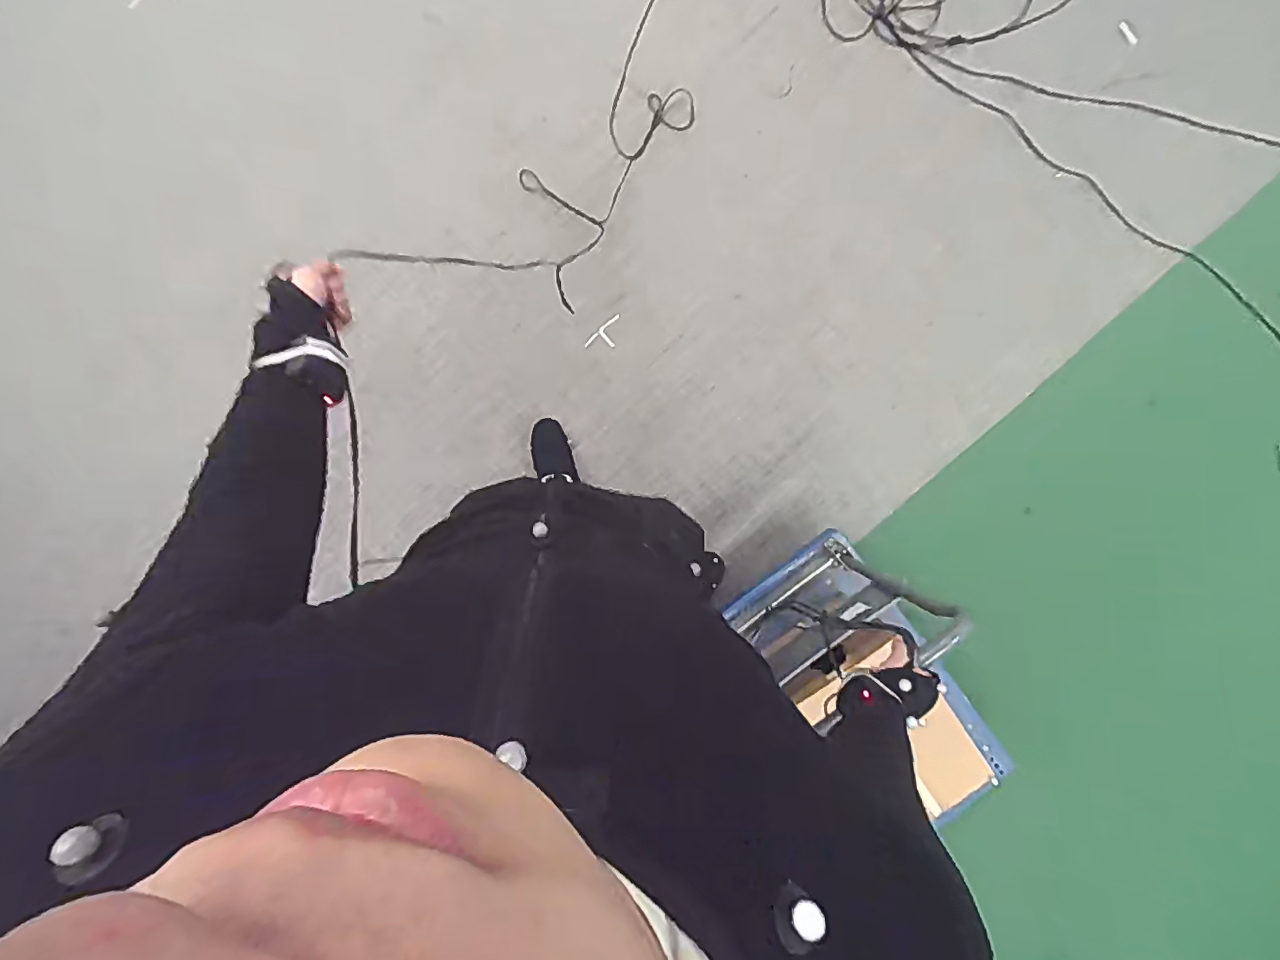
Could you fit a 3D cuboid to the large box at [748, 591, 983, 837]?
[{"bbox_3d":[0.536,0.556,1.358,0.320,0.320,0.408,-35,95,2],"label":"large box"}]
